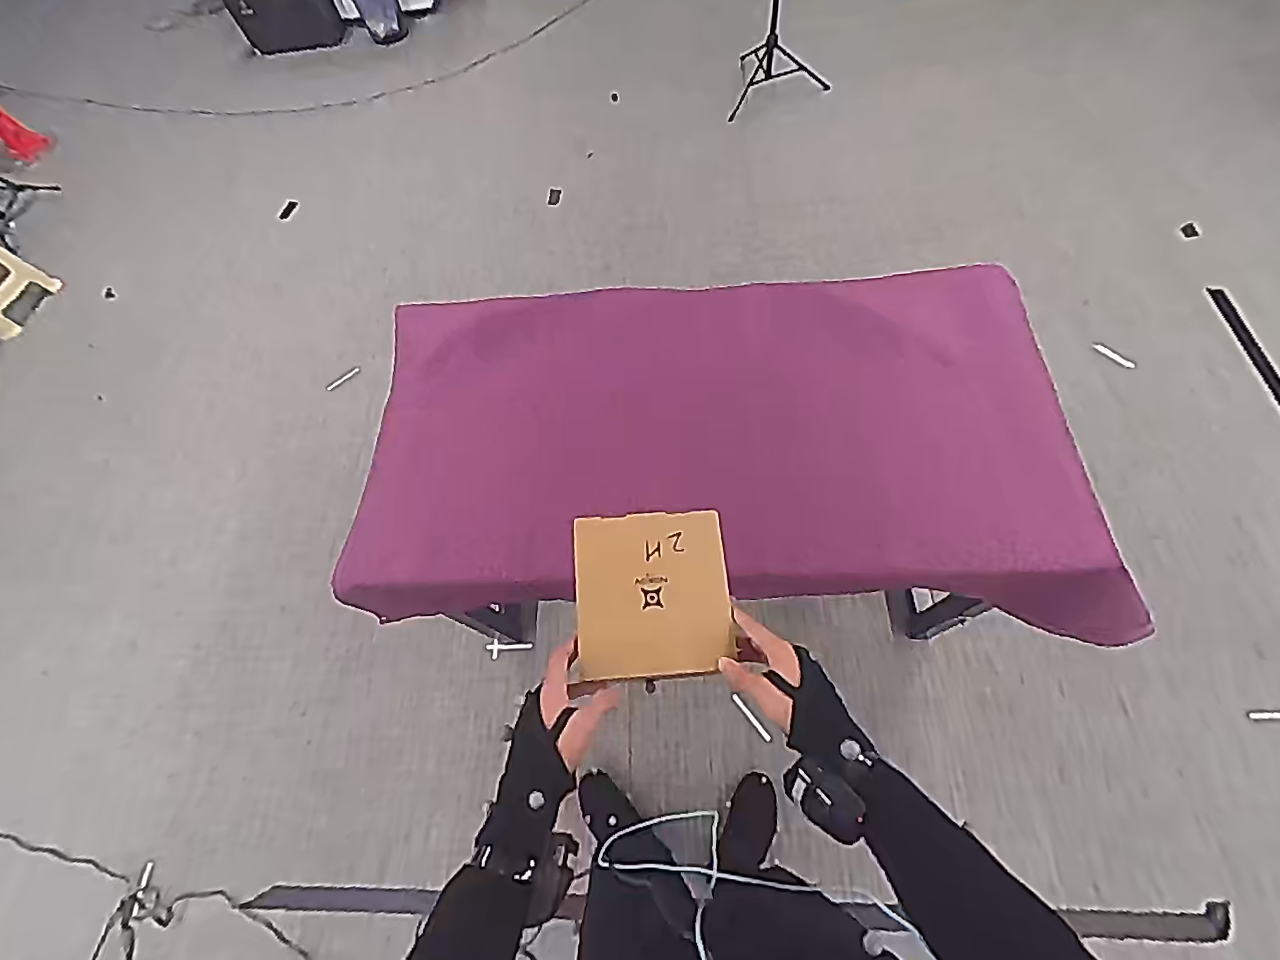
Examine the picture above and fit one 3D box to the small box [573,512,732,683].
[{"bbox_3d":[0.008,0.149,0.656,0.168,0.176,0.179,-3,68,-4],"label":"small box"}]
